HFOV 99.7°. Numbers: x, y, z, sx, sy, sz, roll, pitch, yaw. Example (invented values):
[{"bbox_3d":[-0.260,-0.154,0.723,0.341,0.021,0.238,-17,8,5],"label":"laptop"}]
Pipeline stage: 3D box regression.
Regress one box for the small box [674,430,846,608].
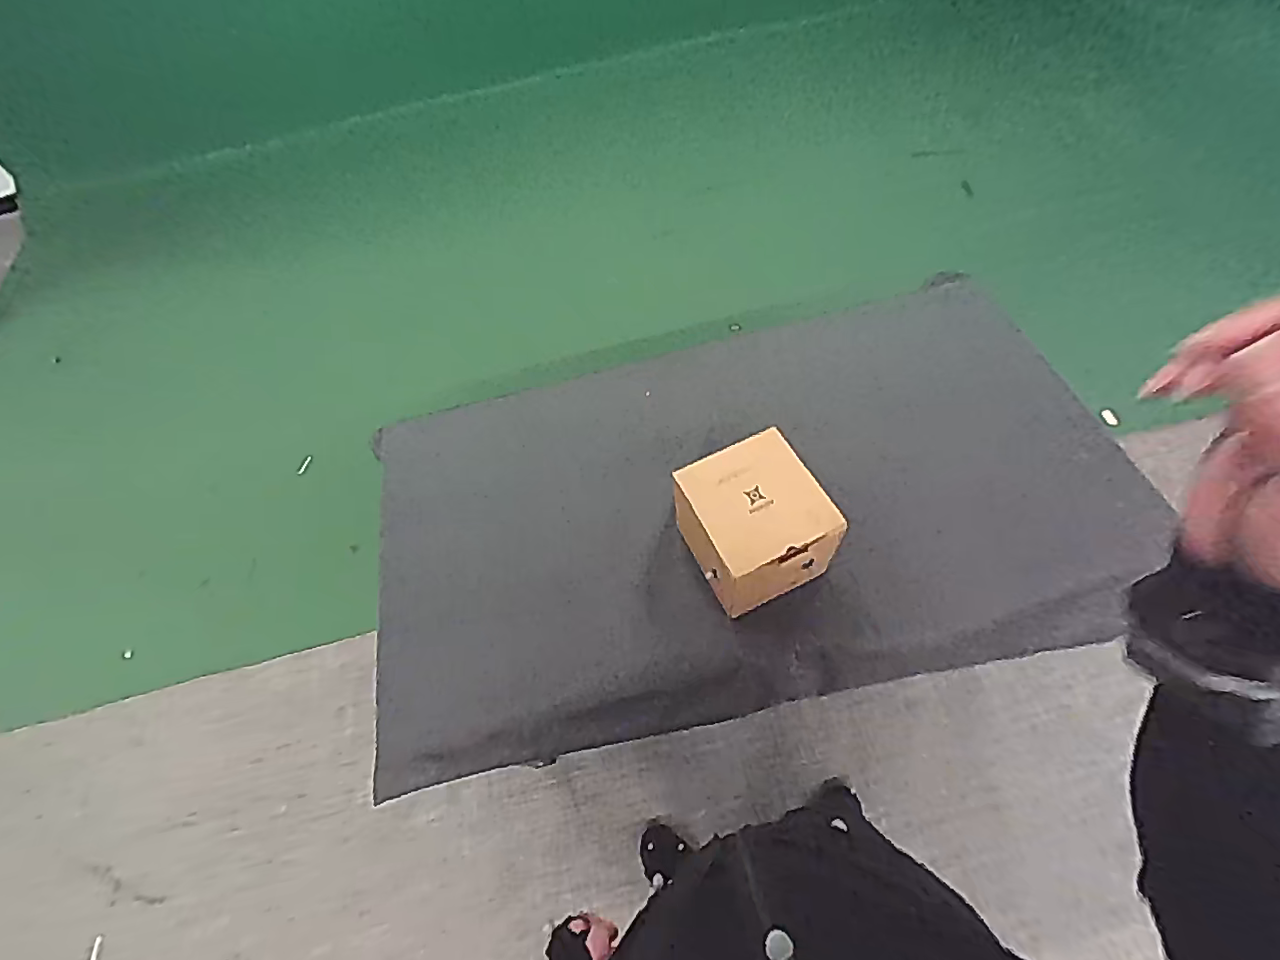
[{"bbox_3d":[0.163,0.066,0.783,0.168,0.176,0.179,-24,59,-9],"label":"small box"}]
